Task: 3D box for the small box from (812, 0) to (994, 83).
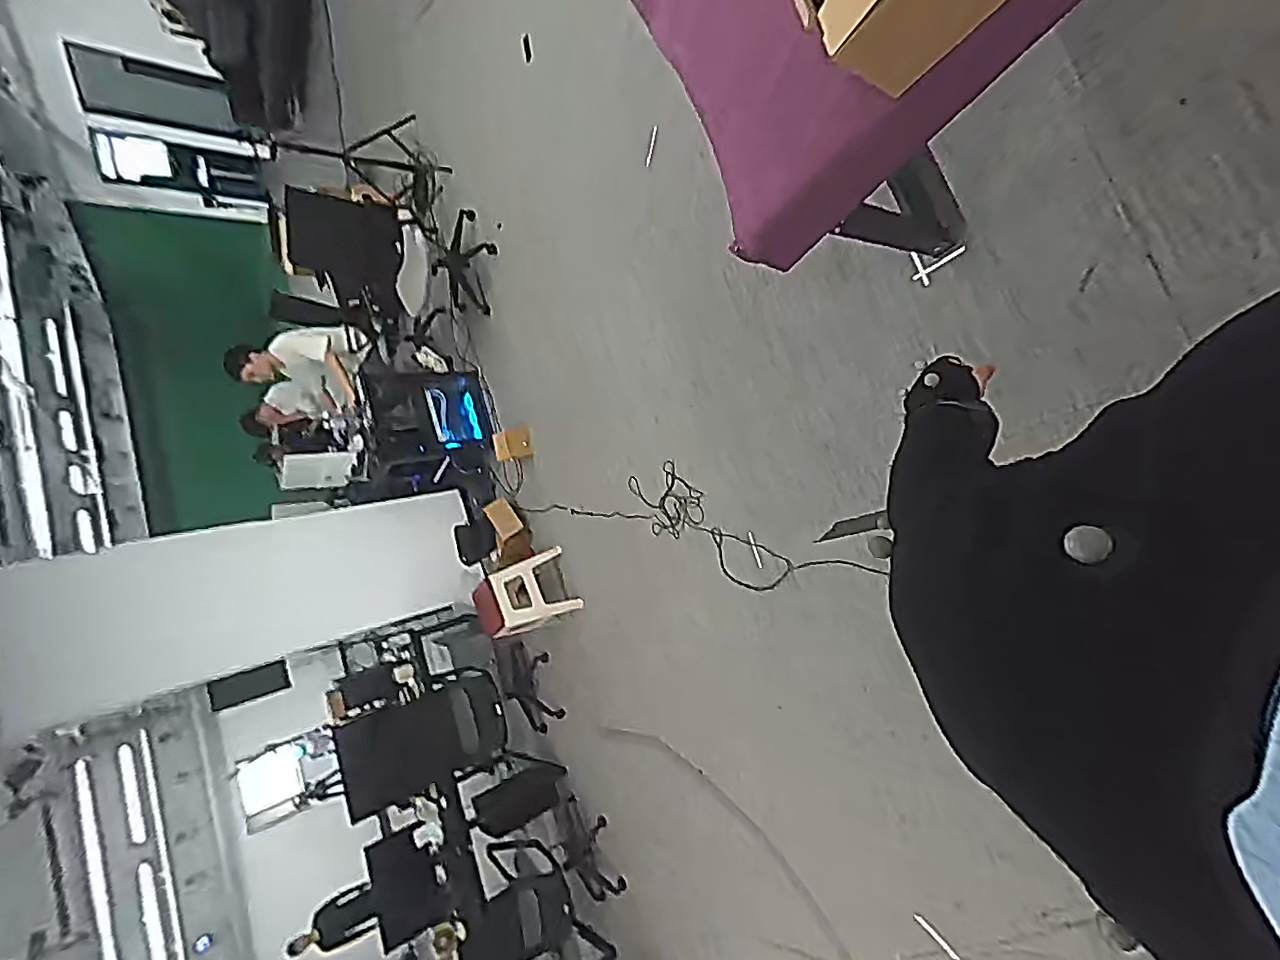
[{"bbox_3d":[0.310,-0.615,0.622,0.179,0.176,0.168,-27,78,52],"label":"small box"}]
